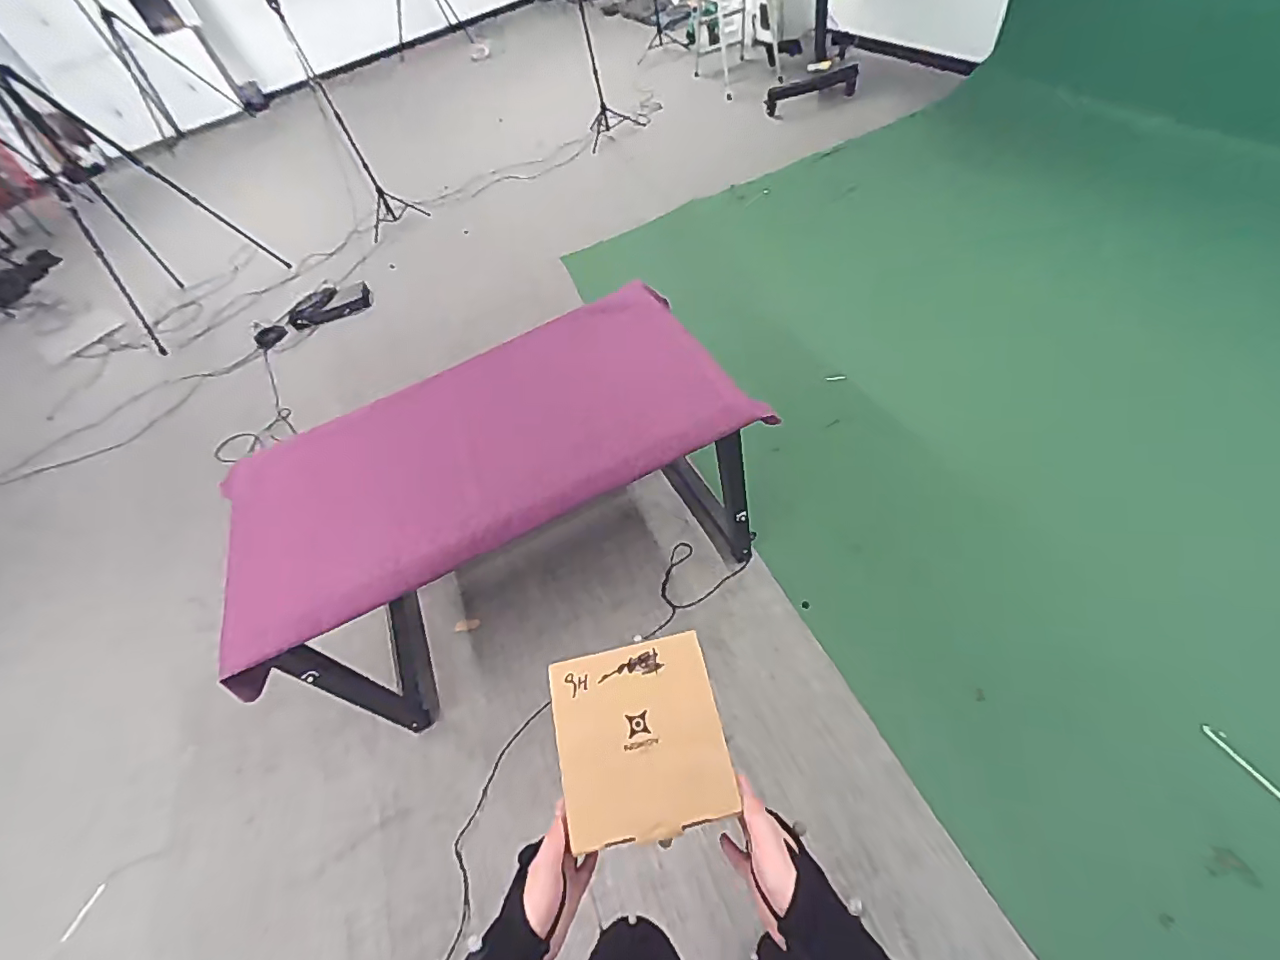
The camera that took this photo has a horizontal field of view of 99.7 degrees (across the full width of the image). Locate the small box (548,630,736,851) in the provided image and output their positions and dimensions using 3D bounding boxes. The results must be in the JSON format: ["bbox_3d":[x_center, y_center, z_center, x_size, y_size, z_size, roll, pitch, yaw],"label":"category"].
[{"bbox_3d":[0.003,0.289,0.612,0.168,0.176,0.179,-13,61,-2],"label":"small box"}]
